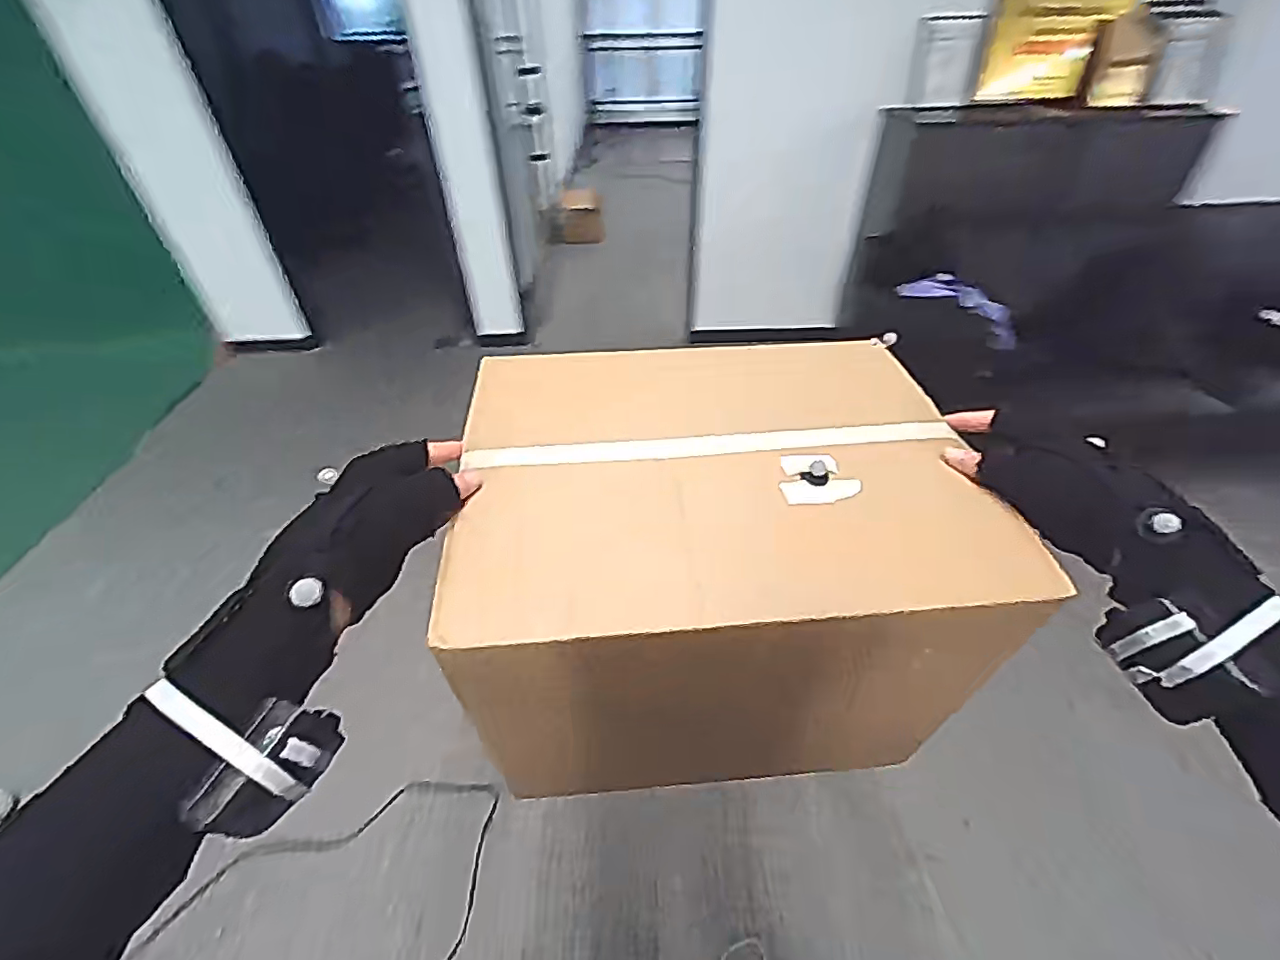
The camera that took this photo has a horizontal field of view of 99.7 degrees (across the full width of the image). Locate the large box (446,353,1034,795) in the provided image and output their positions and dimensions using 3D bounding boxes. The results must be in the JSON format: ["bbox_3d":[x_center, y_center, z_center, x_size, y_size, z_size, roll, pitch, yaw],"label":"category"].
[{"bbox_3d":[0.054,0.088,0.557,0.408,0.320,0.320,-4,45,-5],"label":"large box"}]
